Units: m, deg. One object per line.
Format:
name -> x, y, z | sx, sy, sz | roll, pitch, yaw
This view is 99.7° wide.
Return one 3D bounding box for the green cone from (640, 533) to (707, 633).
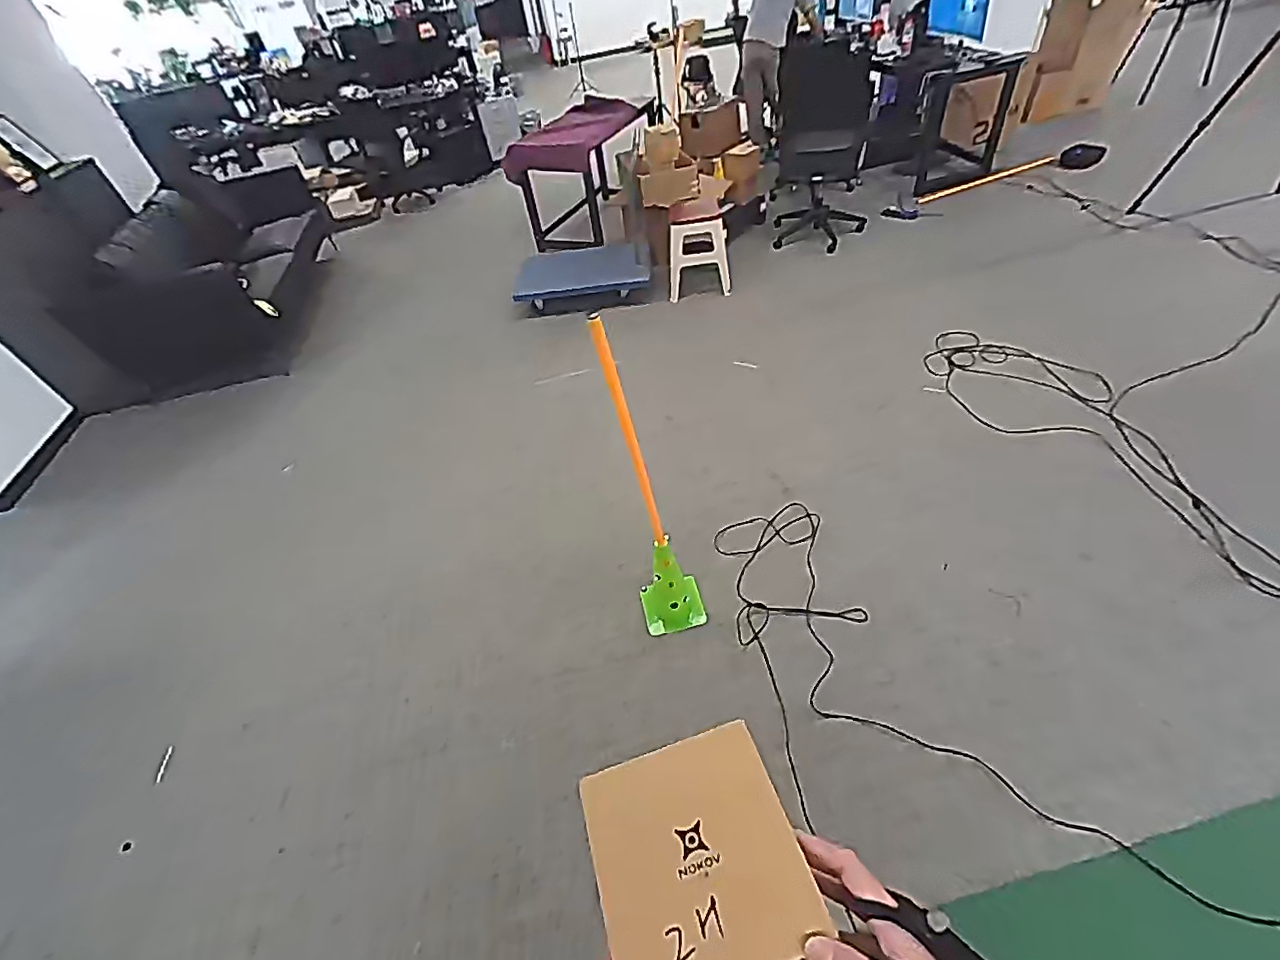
green cone -> 0.091, 0.302, 1.731 | 0.202, 0.368, 0.200 | -13, 45, -4
